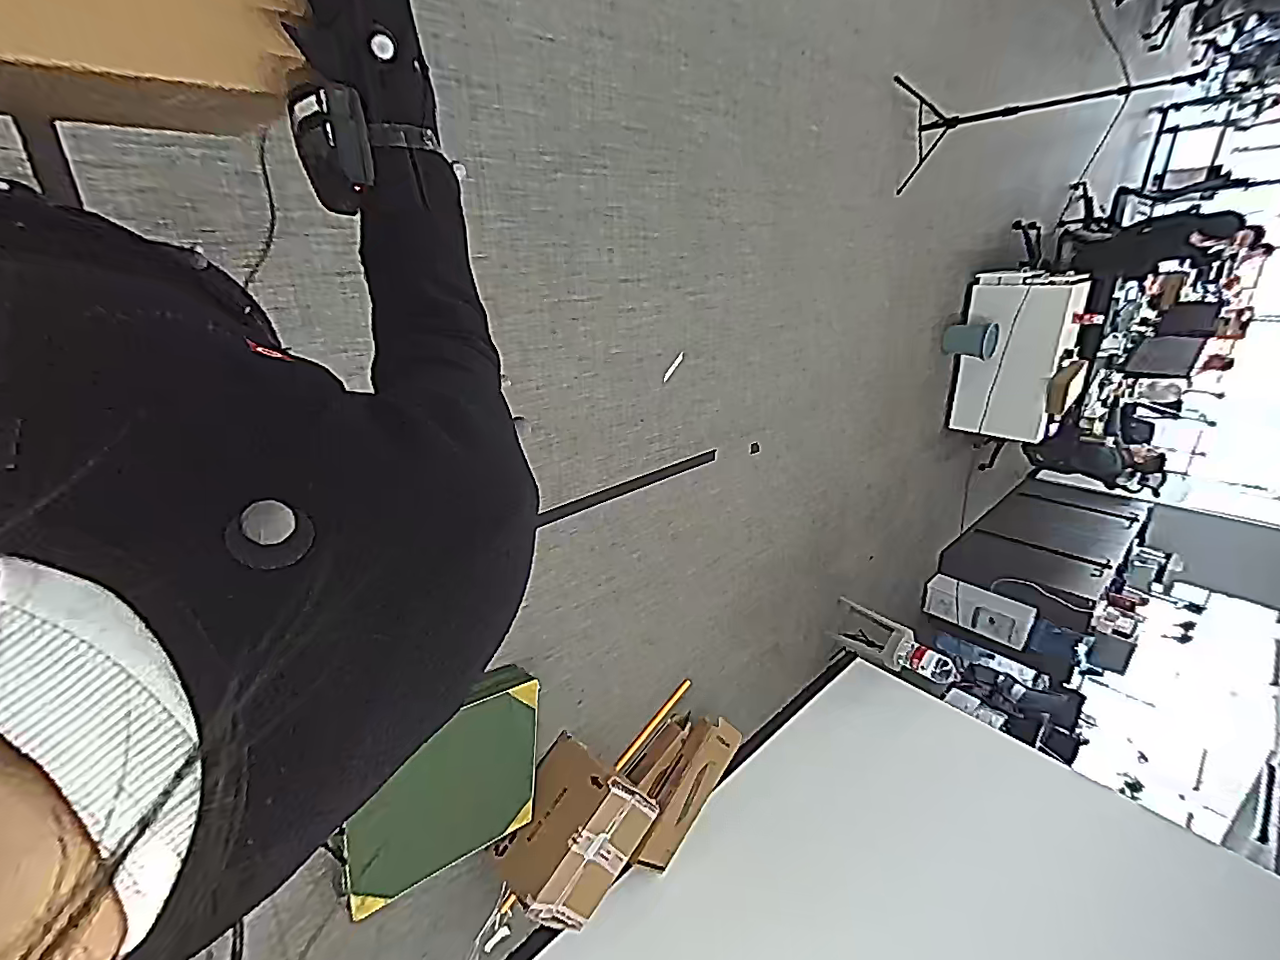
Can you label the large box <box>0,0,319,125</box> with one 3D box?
[{"bbox_3d":[-0.463,-0.395,0.279,0.408,0.320,0.320,-21,125,-38],"label":"large box"}]
